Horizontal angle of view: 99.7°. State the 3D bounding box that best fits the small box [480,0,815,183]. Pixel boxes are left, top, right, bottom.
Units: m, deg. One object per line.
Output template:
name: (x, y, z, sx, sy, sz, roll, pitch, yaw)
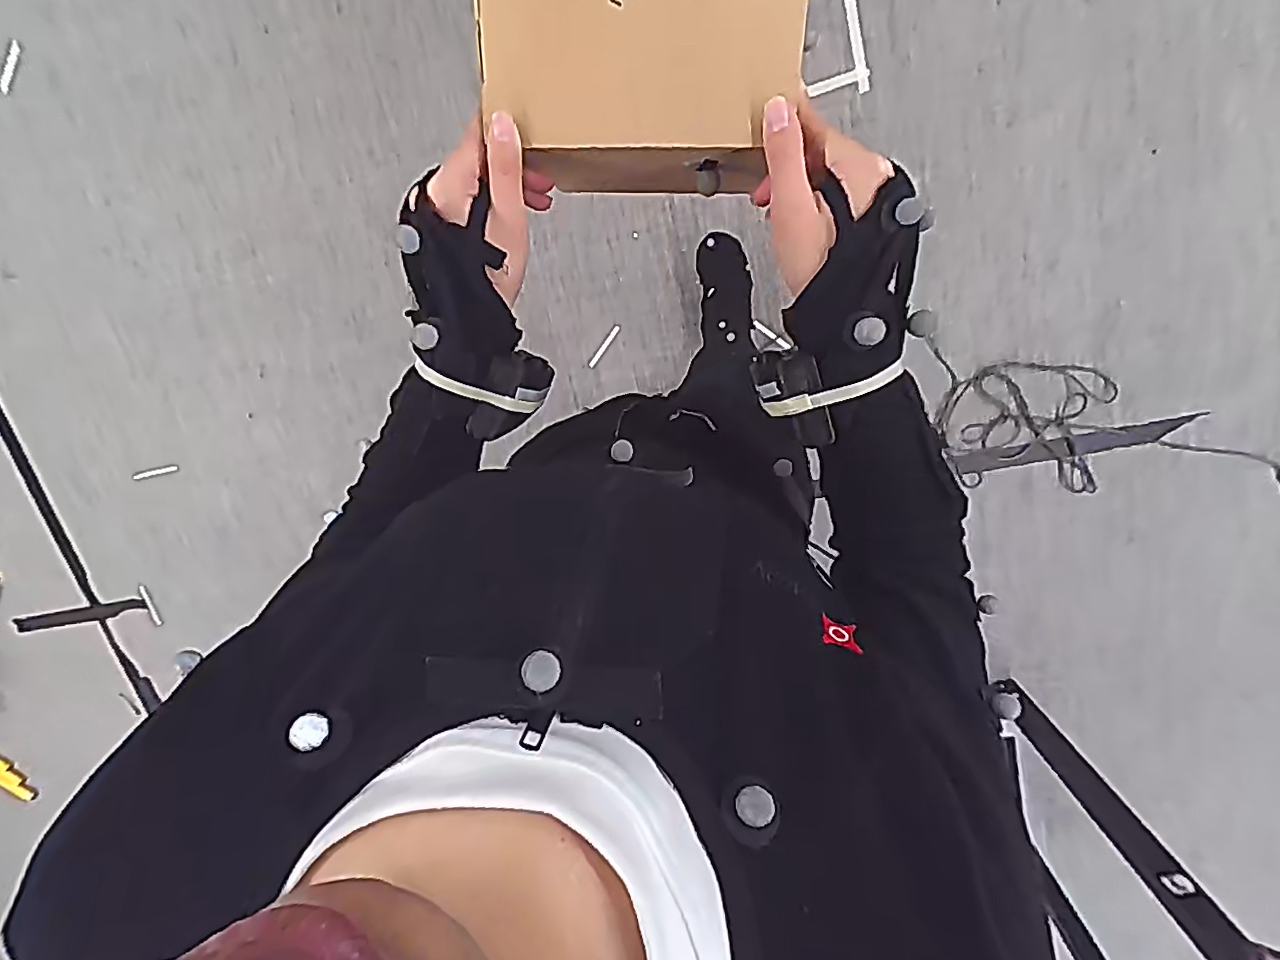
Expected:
small box: (0.012, -0.296, 0.343, 0.179, 0.176, 0.168, 4, 110, 7)
